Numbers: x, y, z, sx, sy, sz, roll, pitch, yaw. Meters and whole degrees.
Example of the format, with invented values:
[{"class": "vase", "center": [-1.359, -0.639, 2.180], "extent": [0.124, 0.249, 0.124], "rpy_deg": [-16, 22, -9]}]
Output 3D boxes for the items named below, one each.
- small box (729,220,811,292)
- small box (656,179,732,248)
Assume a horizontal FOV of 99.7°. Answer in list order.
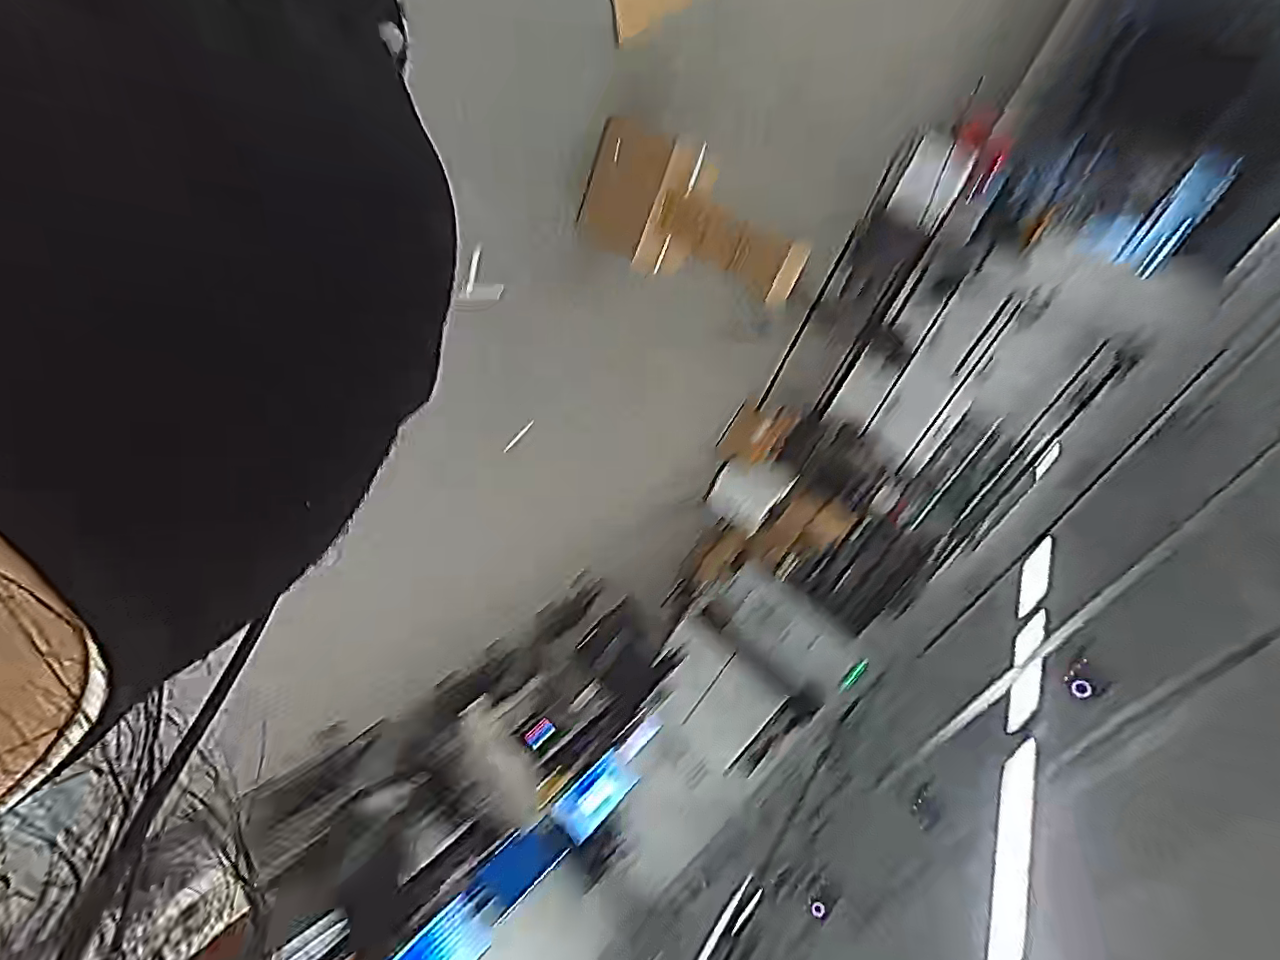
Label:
[{"class": "small box", "center": [0.422, -0.732, 1.768], "extent": [0.179, 0.176, 0.168], "rpy_deg": [-23, 145, -50]}, {"class": "small box", "center": [0.184, -0.928, 1.884], "extent": [0.179, 0.176, 0.168], "rpy_deg": [-27, 148, -48]}]
